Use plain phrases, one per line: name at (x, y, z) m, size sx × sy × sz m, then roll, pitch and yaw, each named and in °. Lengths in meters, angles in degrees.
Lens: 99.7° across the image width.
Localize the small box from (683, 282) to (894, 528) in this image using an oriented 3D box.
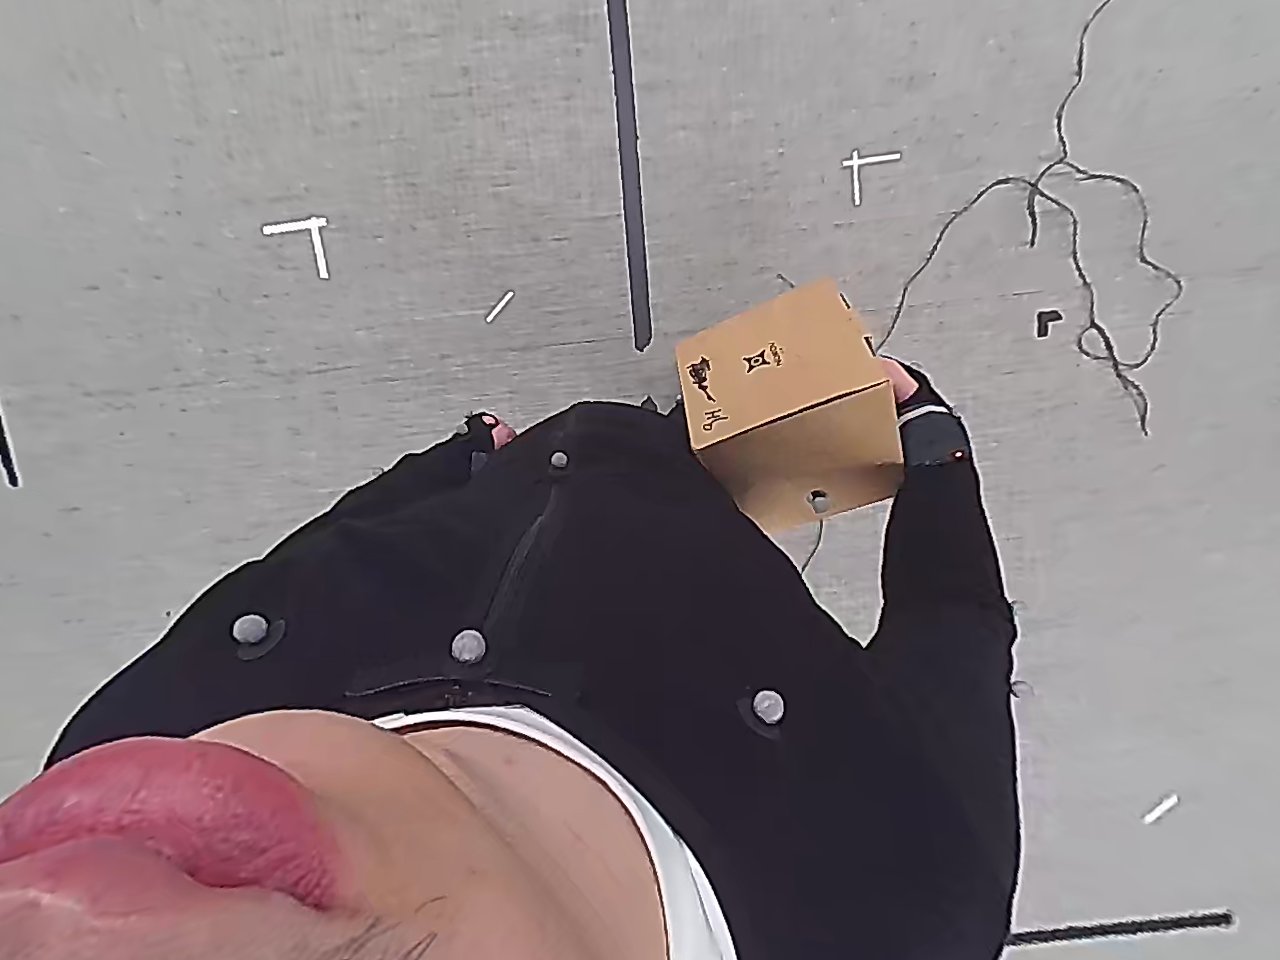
small box at (0.163, -0.073, 0.591) m, size 0.179 × 0.168 × 0.176 m, roll -19°, pitch 136°, yaw 17°
